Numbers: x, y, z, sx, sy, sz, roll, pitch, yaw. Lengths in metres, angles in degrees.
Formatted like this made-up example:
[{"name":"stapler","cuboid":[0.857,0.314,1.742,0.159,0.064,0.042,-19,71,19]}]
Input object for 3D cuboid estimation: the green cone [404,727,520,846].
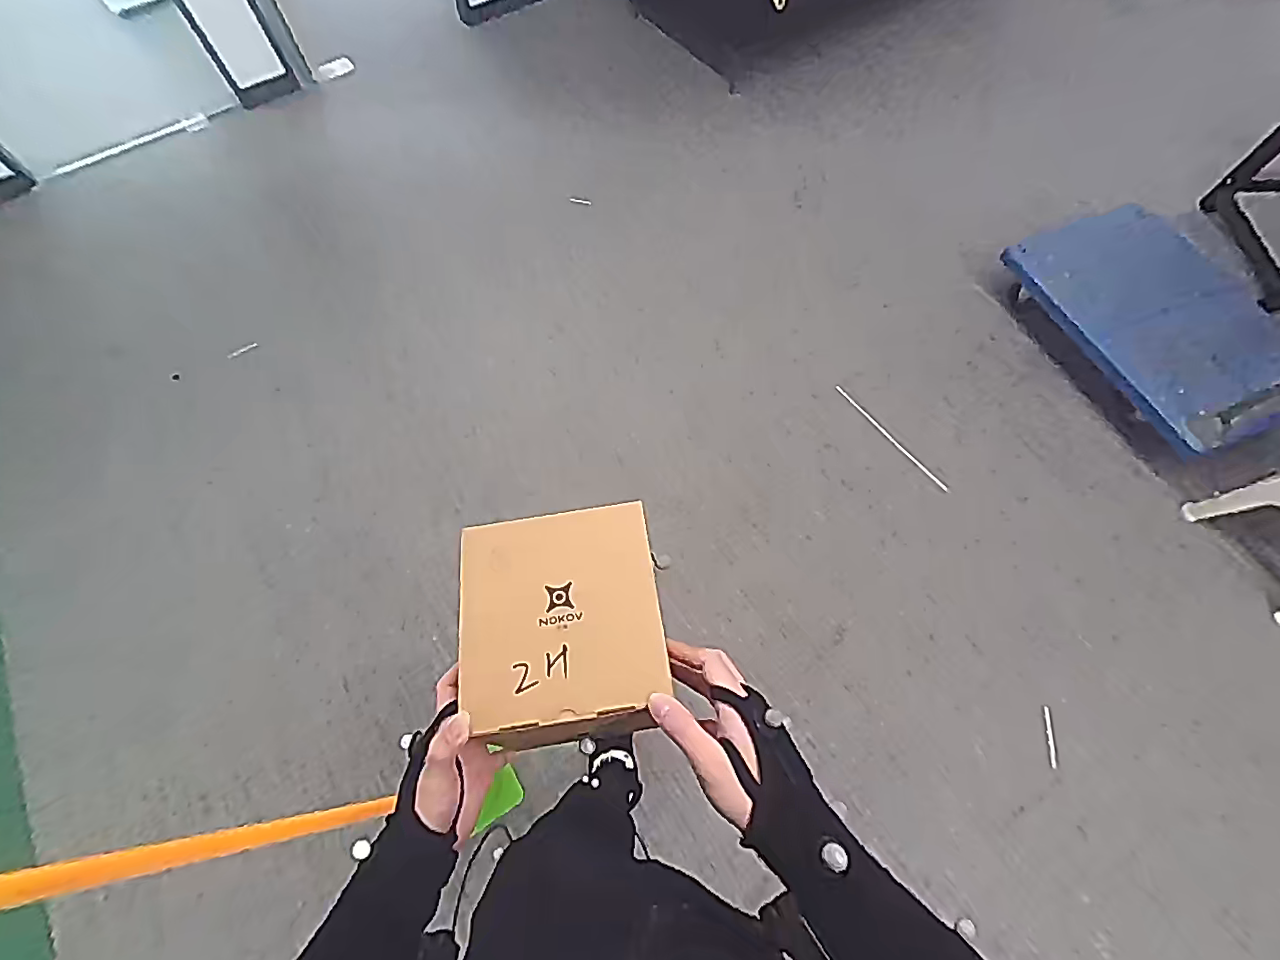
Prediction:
[{"name":"green cone","cuboid":[-0.422,0.672,1.166,0.200,0.368,0.202,-31,69,-12]}]
